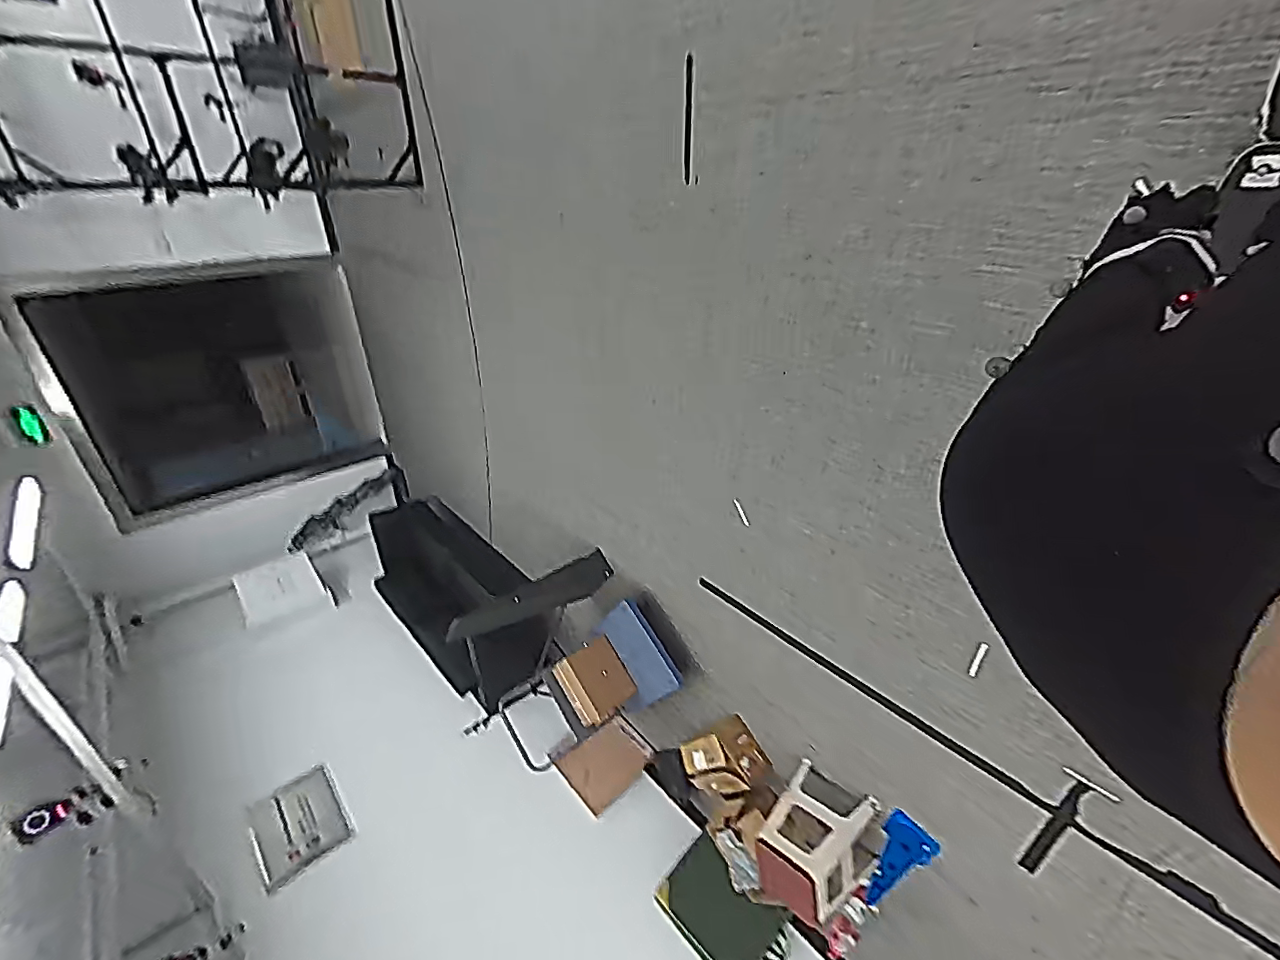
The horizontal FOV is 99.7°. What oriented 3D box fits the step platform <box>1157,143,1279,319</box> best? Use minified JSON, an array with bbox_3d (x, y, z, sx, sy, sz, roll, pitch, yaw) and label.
[{"bbox_3d":[1.302,-0.388,0.860,0.684,0.204,0.286,28,130,42],"label":"step platform"}]
